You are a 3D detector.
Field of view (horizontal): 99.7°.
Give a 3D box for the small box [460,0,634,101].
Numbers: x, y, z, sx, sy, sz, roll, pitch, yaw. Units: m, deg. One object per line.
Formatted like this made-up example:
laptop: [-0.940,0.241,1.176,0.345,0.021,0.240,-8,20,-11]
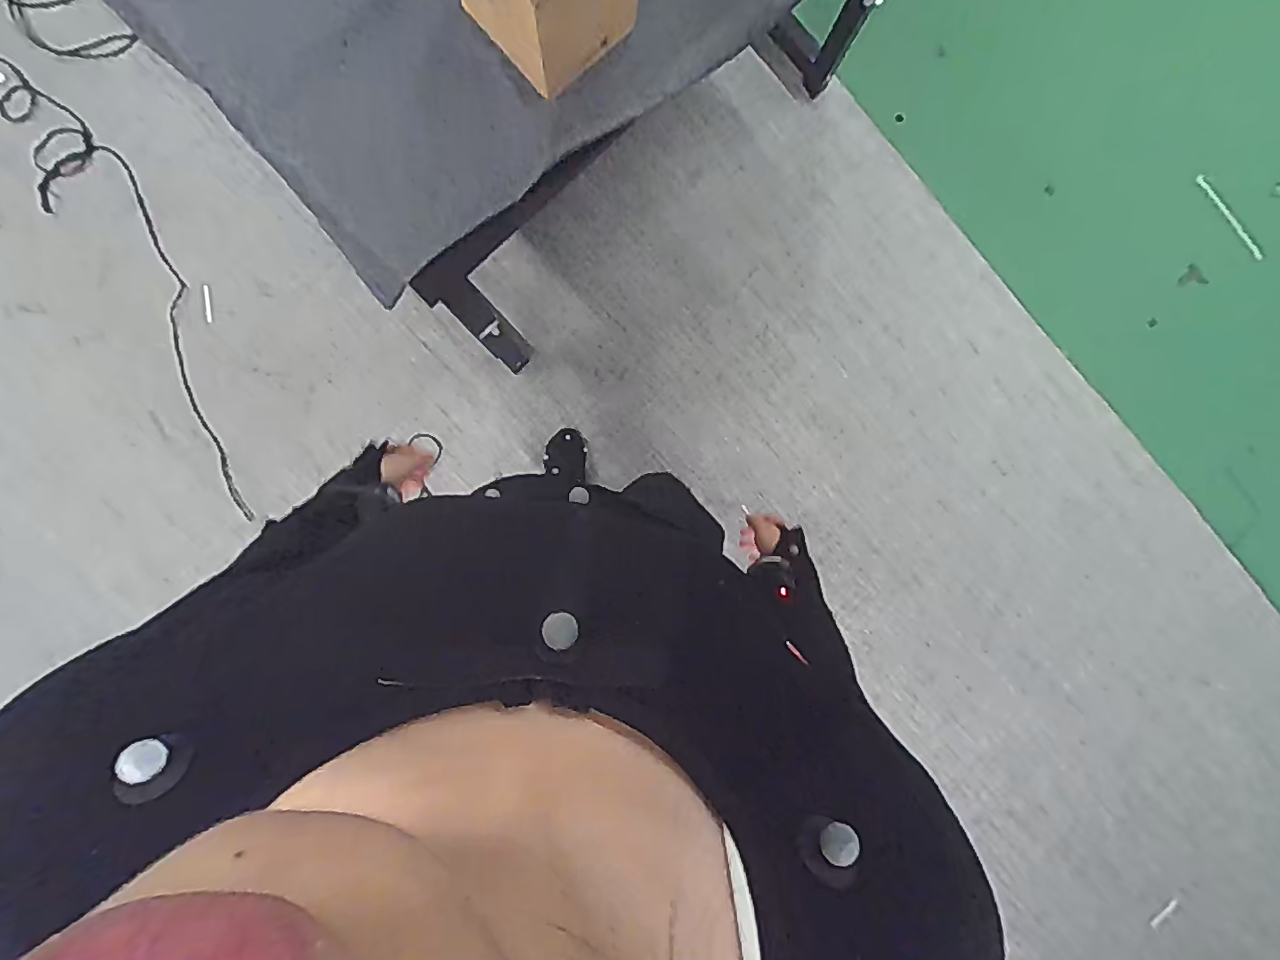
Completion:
small box: [-0.121,-0.617,0.648,0.168,0.176,0.179,-43,93,-2]
